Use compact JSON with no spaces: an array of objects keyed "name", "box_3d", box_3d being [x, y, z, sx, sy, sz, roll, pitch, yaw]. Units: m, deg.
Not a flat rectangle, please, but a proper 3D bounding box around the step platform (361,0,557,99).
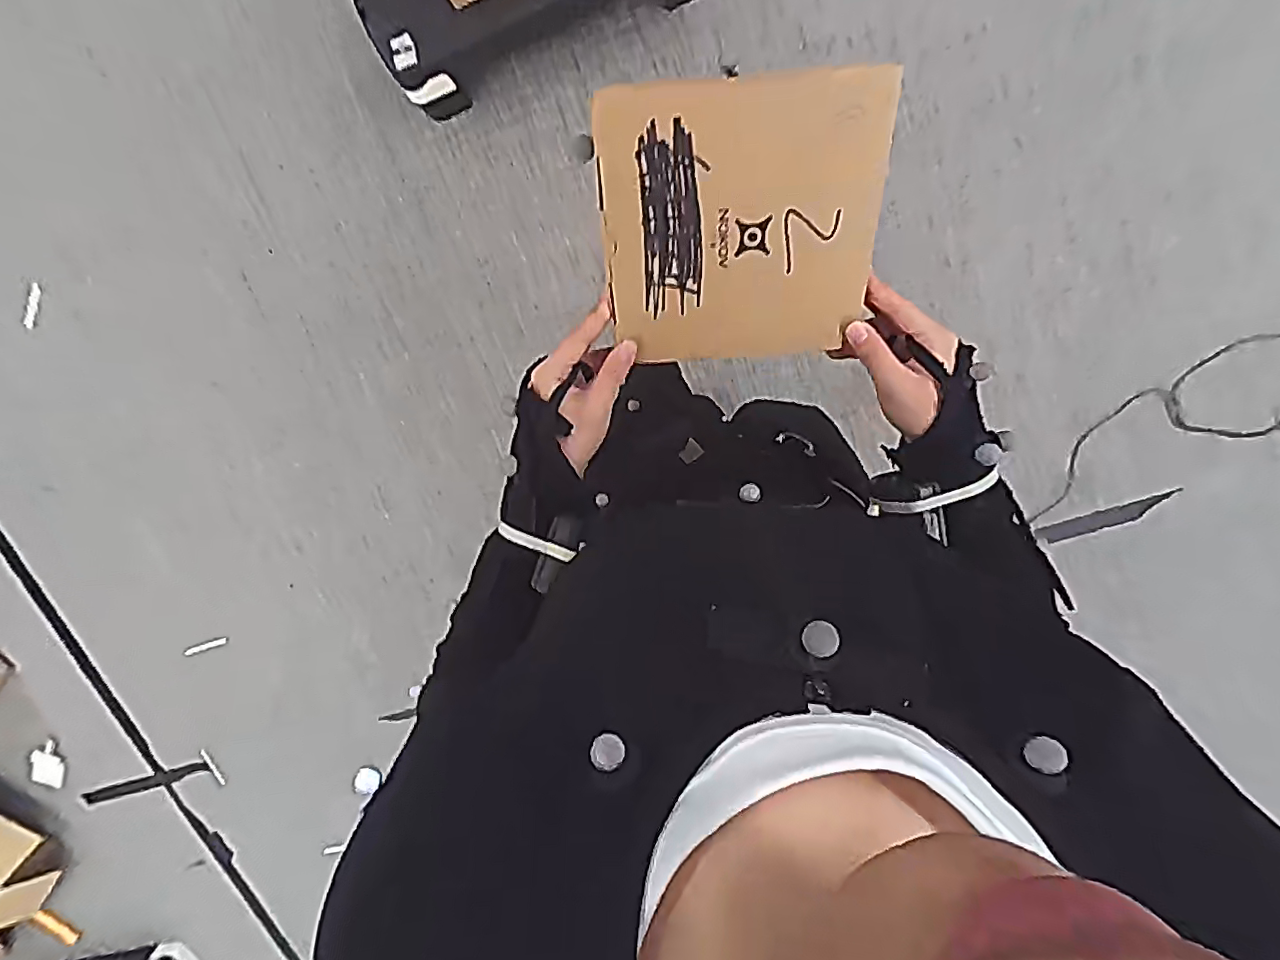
[{"name":"step platform","box_3d":[-0.211,-1.038,1.030,0.684,0.204,0.286,-19,102,10]}]
